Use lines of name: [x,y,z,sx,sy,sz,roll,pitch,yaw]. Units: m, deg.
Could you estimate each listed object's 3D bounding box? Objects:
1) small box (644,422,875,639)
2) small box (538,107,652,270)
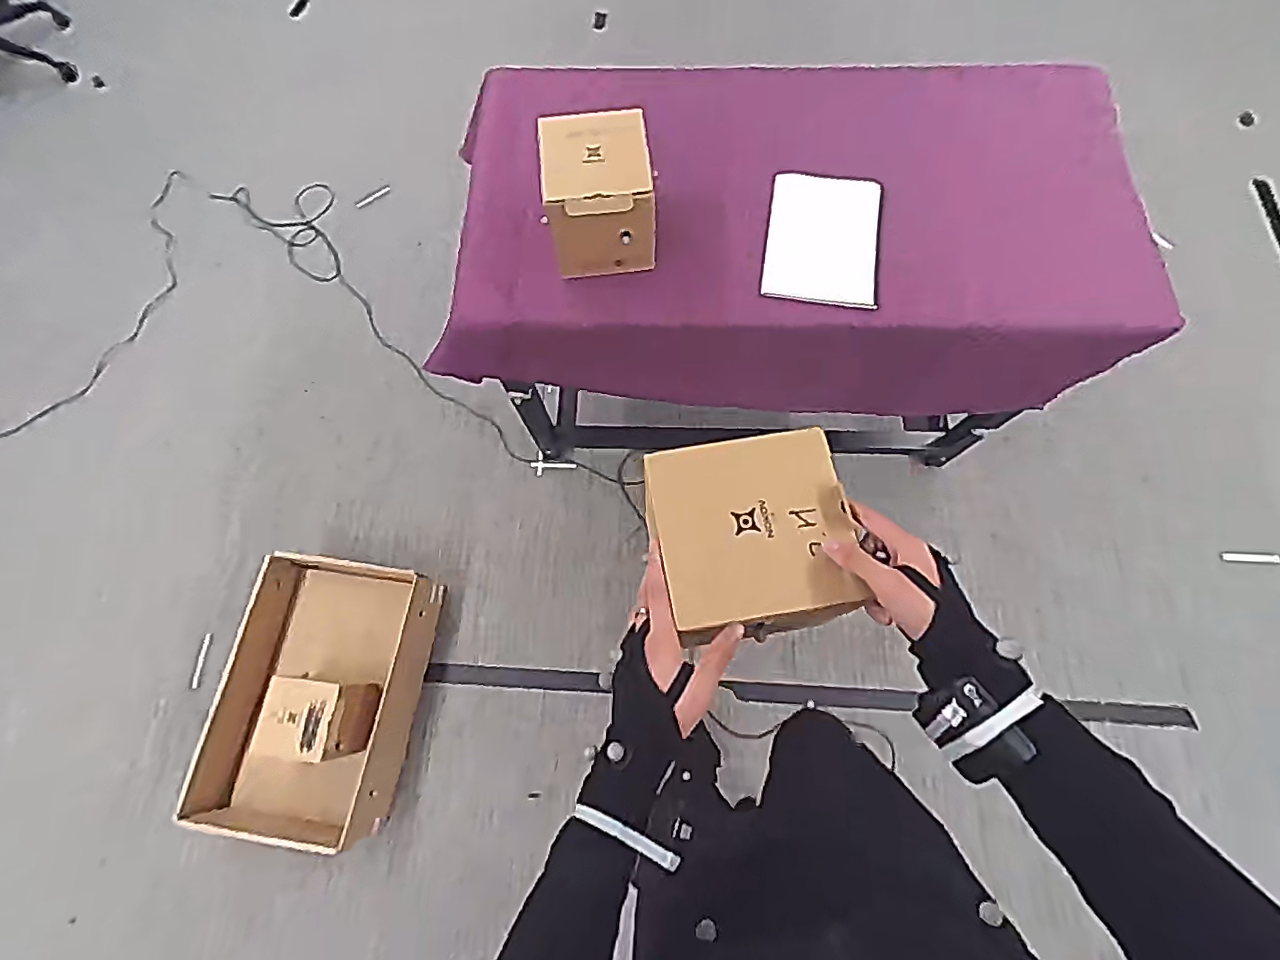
small box: [0.103,0.061,0.551,0.179,0.176,0.168,-8,68,-2]
small box: [-0.069,-0.470,0.896,0.168,0.176,0.179,-6,72,-1]
